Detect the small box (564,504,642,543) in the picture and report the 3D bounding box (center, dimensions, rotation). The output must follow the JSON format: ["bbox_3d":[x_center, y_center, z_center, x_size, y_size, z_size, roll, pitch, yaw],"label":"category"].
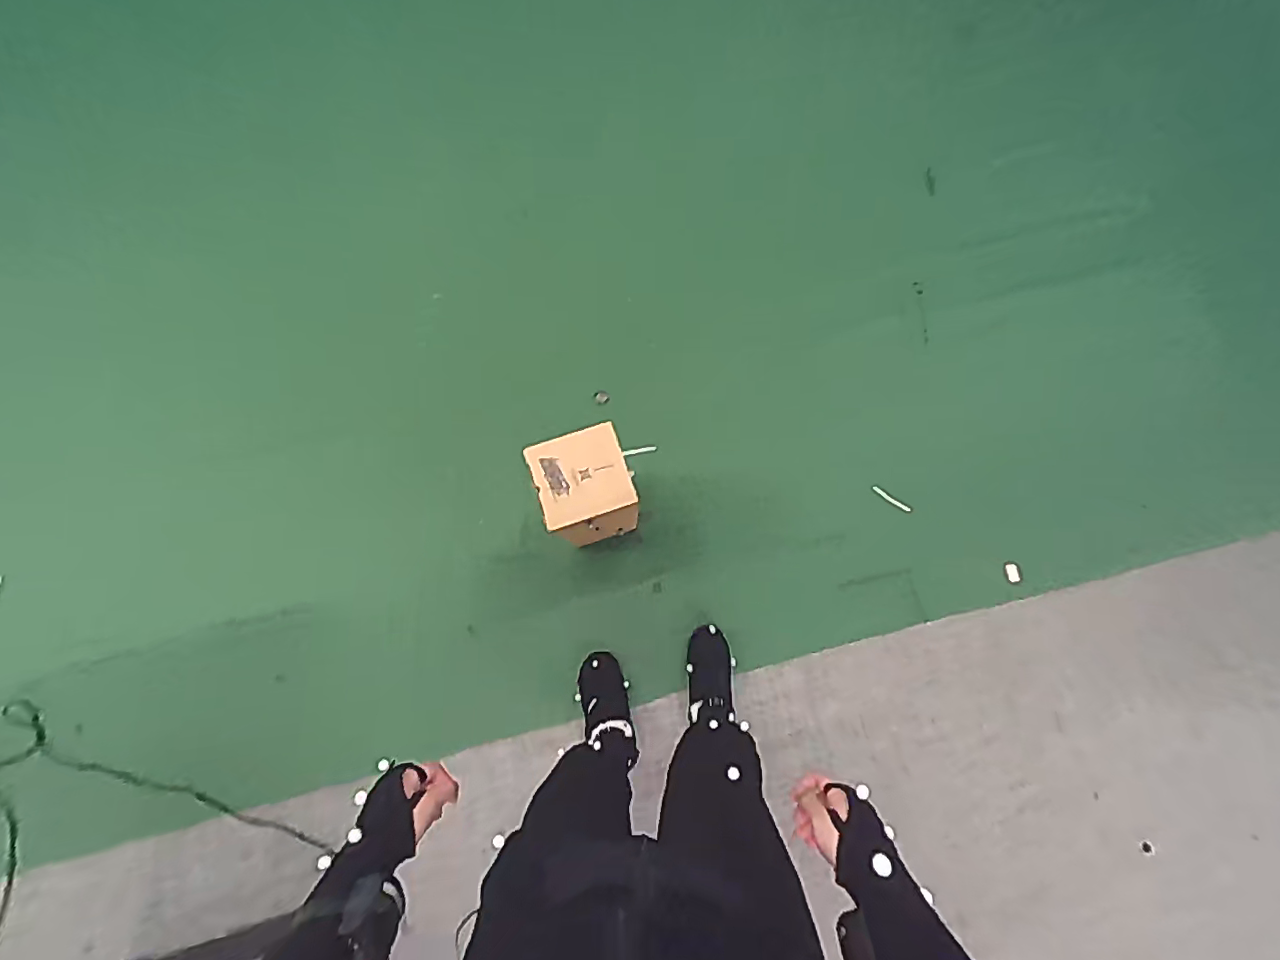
[{"bbox_3d":[-0.103,0.042,1.243,0.179,0.176,0.168,-16,79,-4],"label":"small box"}]

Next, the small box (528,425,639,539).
[{"bbox_3d":[-0.106,0.012,1.082,0.179,0.176,0.168,-18,80,-5],"label":"small box"}]

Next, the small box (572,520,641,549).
[{"bbox_3d":[-0.107,0.075,1.402,0.179,0.176,0.168,-17,79,-5],"label":"small box"}]
